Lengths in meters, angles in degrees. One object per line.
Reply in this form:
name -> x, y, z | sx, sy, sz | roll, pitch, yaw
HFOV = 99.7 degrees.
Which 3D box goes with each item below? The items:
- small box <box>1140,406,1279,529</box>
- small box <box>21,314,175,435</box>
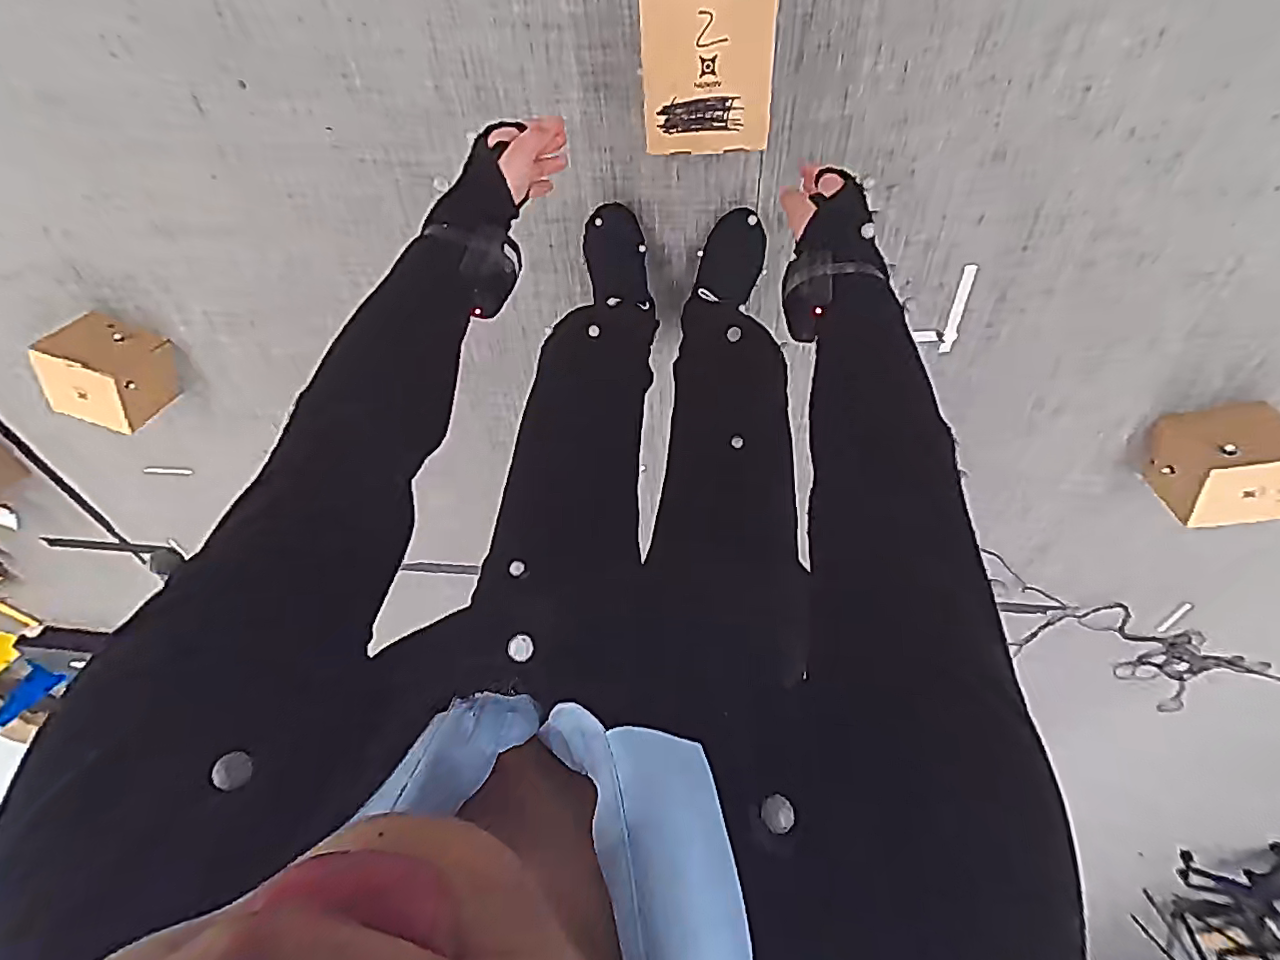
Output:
small box -> 1.165, -0.026, 1.085 | 0.179, 0.176, 0.168 | -10, 130, 17
small box -> -1.209, -0.240, 1.227 | 0.168, 0.176, 0.179 | 21, 132, -11
